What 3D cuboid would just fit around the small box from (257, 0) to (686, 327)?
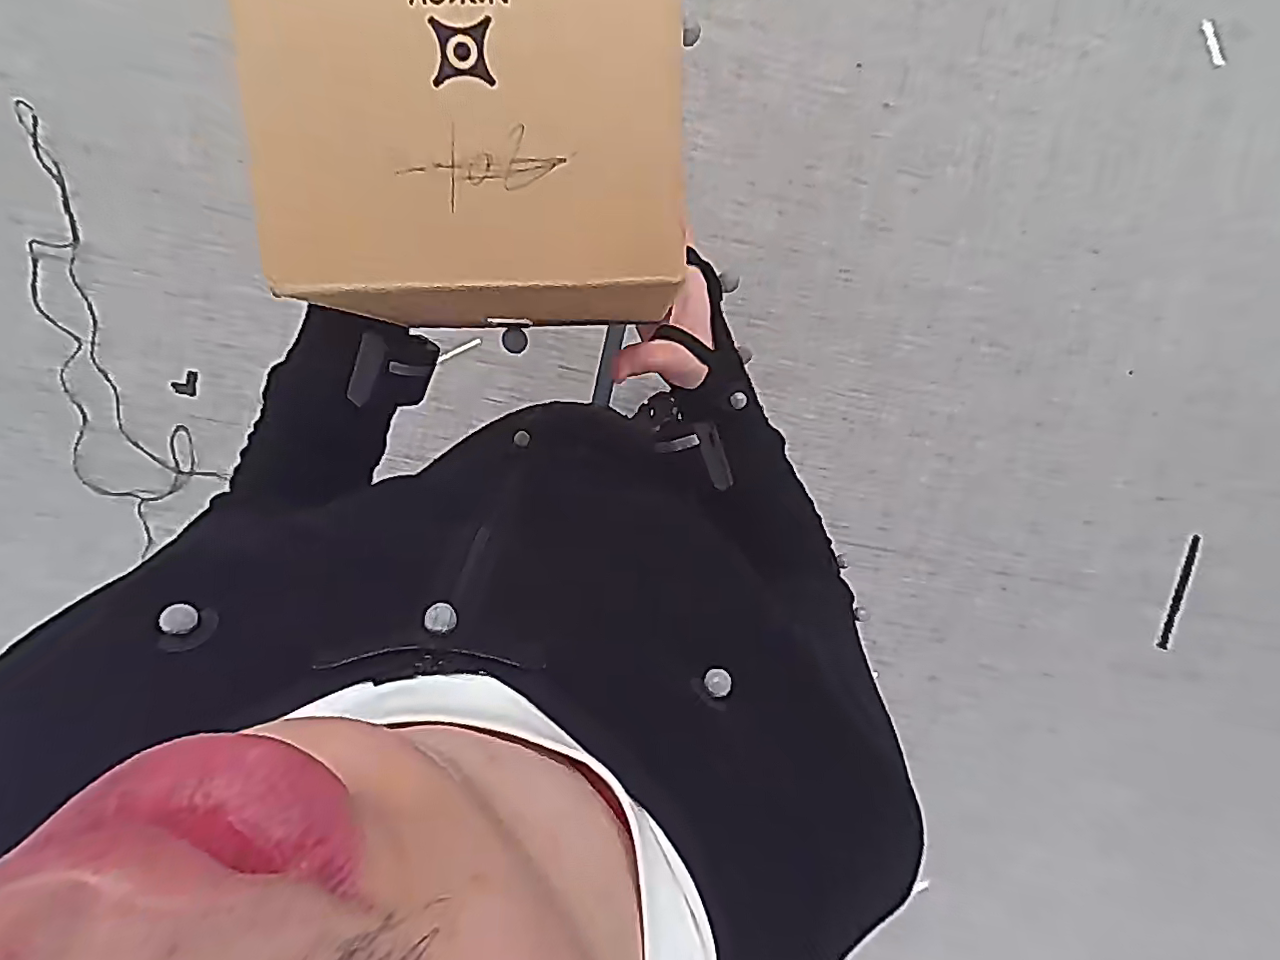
[{"bbox_3d":[-0.066,-0.181,0.290,0.168,0.176,0.179,-2,102,-1],"label":"small box"}]
